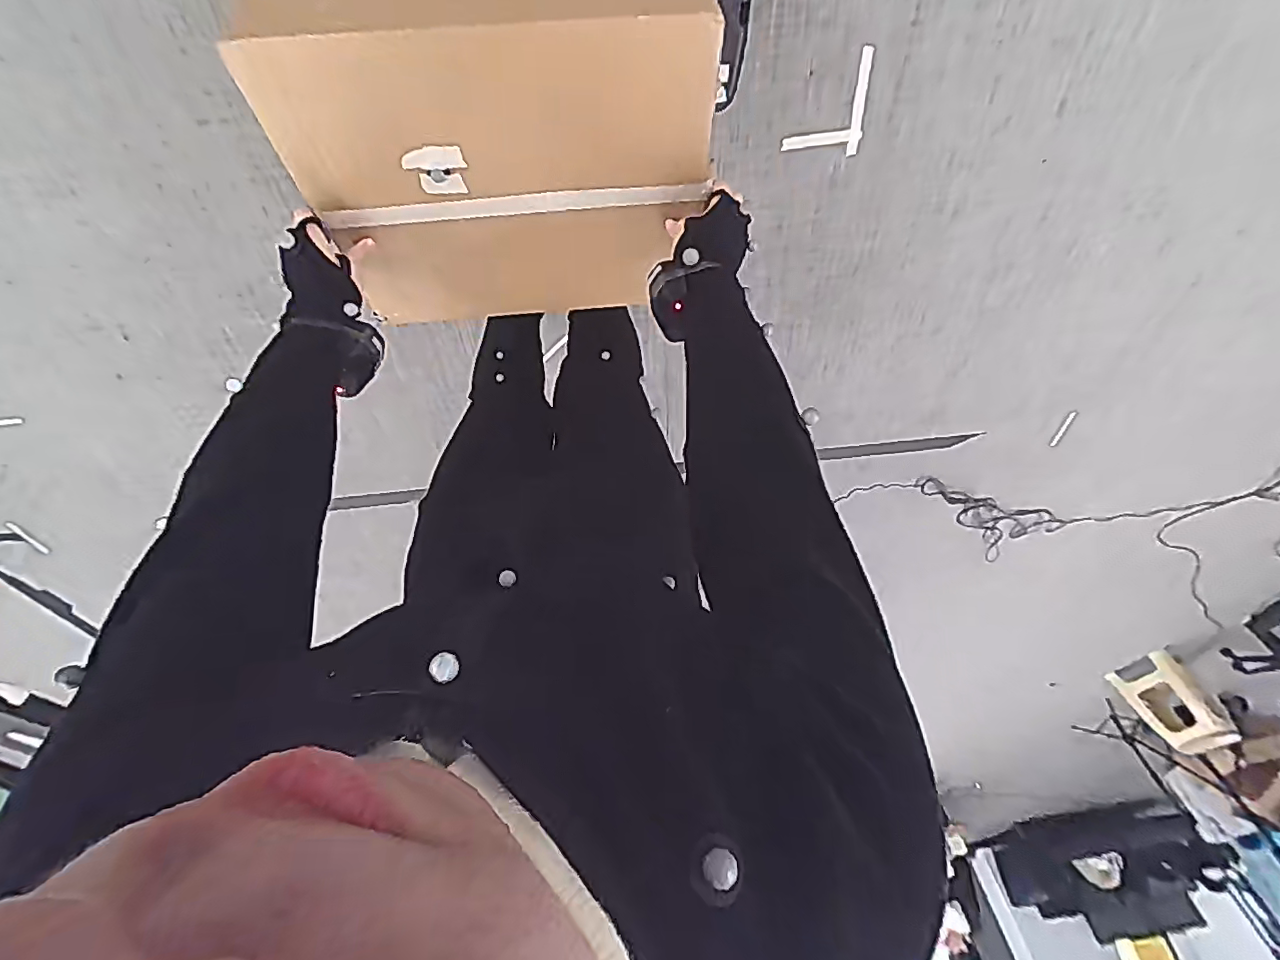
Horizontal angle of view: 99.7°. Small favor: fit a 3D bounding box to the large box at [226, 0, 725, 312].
[{"bbox_3d":[-0.137,-0.432,0.621,0.408,0.320,0.320,-5,152,-2],"label":"large box"}]
